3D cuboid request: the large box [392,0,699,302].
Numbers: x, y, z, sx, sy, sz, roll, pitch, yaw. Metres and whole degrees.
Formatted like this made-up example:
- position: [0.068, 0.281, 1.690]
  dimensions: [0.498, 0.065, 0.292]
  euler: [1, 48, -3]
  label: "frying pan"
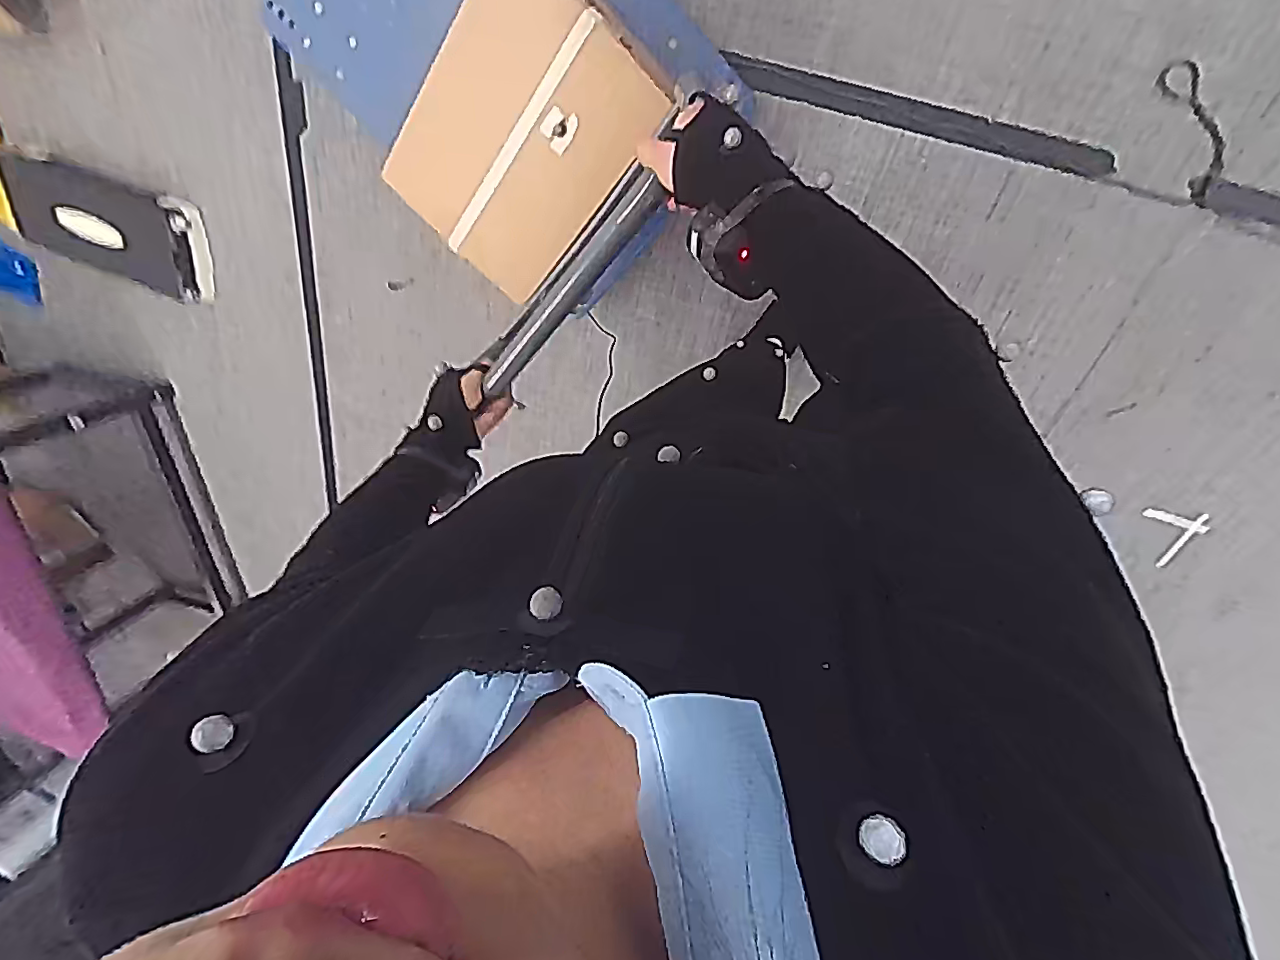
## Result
- position: [-0.155, -0.601, 0.968]
  dimensions: [0.320, 0.320, 0.408]
  euler: [42, 121, -12]
  label: "large box"
